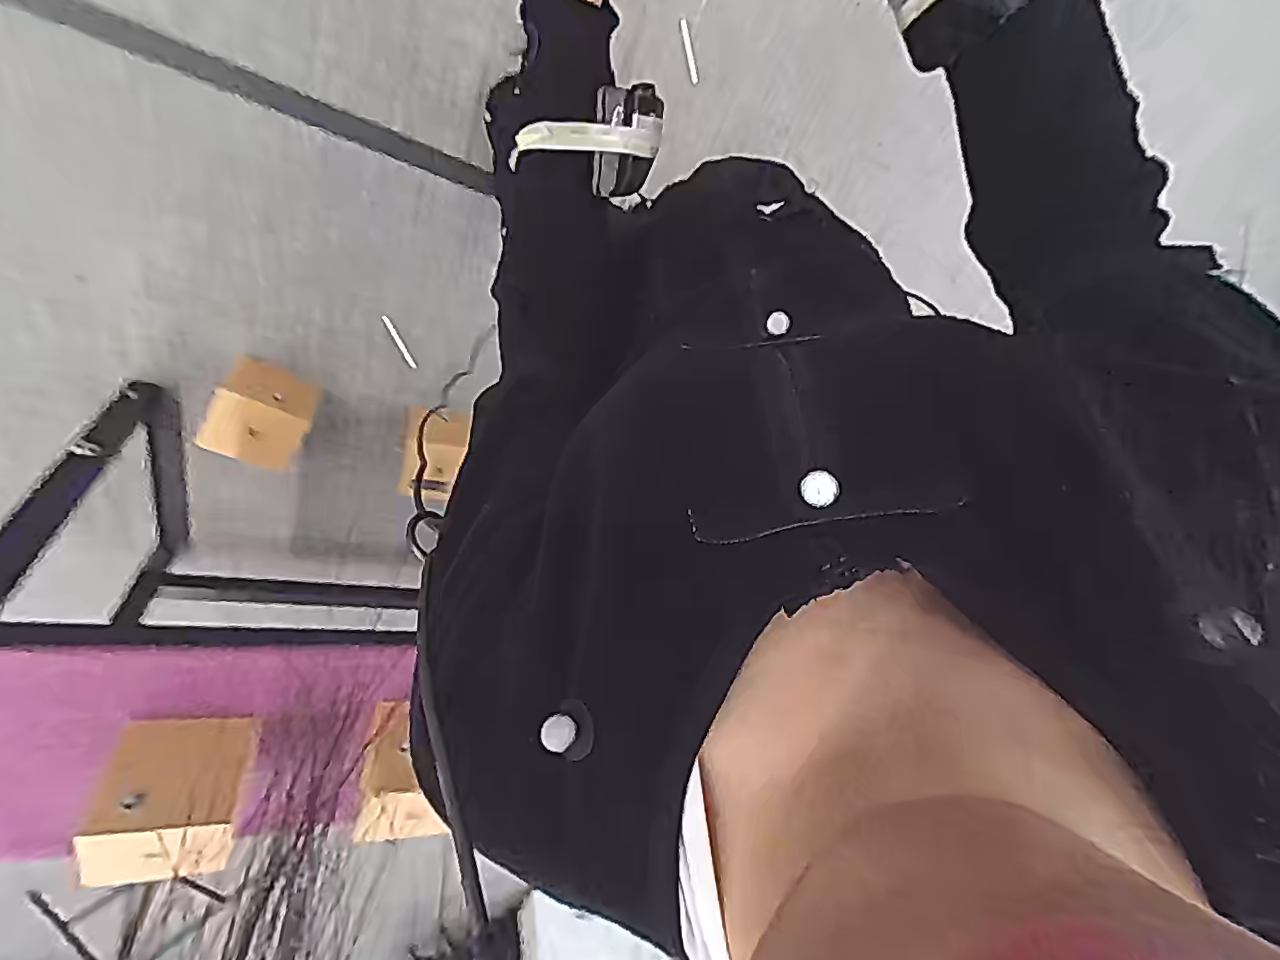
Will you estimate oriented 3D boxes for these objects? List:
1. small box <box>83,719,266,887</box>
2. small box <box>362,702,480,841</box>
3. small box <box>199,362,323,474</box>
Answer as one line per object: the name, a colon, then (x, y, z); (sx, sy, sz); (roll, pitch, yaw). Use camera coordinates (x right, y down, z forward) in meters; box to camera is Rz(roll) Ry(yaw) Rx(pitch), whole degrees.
small box: (-0.719, 0.498, 0.852); (0.179, 0.176, 0.168); (11, 124, -28)
small box: (-0.403, 0.528, 0.996); (0.168, 0.176, 0.179); (11, 125, -26)
small box: (-0.867, -0.148, 1.252); (0.179, 0.176, 0.168); (26, 114, -36)
